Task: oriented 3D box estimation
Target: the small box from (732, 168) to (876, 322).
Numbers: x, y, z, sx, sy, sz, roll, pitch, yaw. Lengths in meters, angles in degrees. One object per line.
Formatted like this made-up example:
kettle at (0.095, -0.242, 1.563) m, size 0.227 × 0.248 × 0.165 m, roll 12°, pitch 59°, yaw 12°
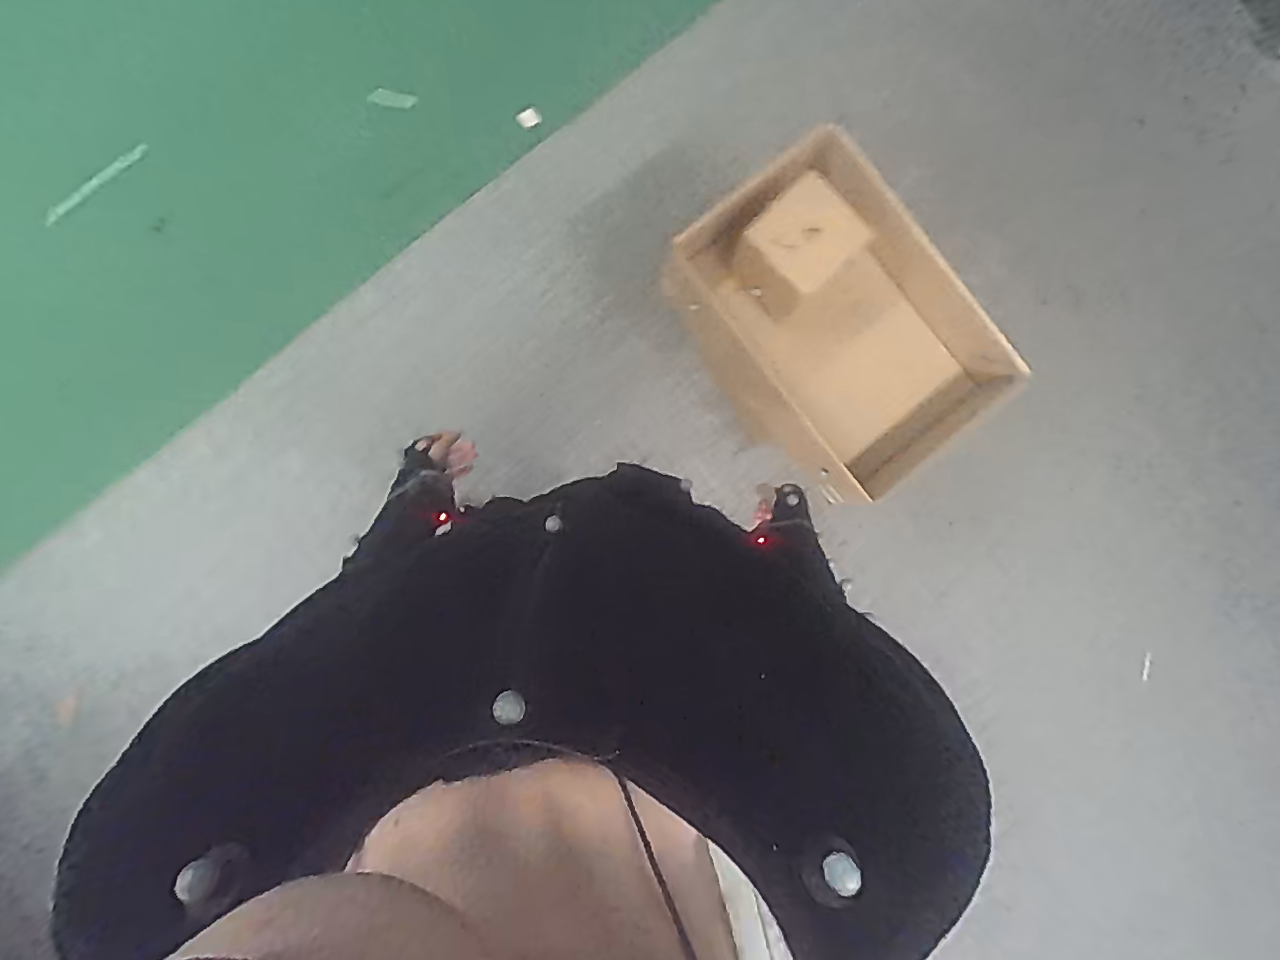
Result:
small box at (0.301, -0.436, 1.033) m, size 0.179 × 0.176 × 0.168 m, roll -42°, pitch 91°, yaw -2°
